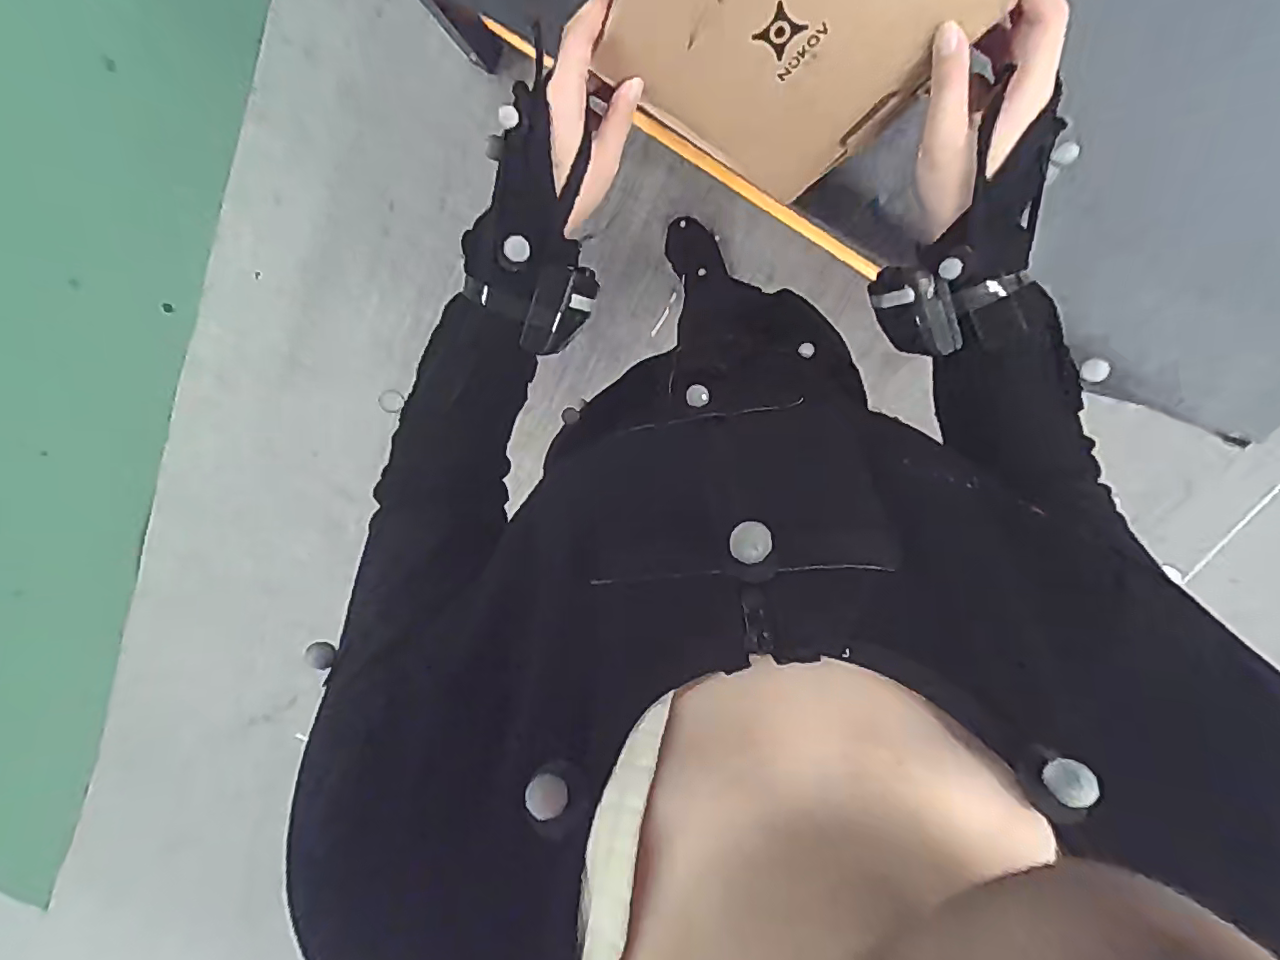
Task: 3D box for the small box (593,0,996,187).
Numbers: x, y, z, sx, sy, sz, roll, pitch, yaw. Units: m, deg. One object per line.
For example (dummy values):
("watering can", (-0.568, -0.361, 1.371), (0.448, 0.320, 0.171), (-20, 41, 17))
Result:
("small box", (0.093, -0.338, 0.333), (0.179, 0.168, 0.176), (17, 66, -25))
